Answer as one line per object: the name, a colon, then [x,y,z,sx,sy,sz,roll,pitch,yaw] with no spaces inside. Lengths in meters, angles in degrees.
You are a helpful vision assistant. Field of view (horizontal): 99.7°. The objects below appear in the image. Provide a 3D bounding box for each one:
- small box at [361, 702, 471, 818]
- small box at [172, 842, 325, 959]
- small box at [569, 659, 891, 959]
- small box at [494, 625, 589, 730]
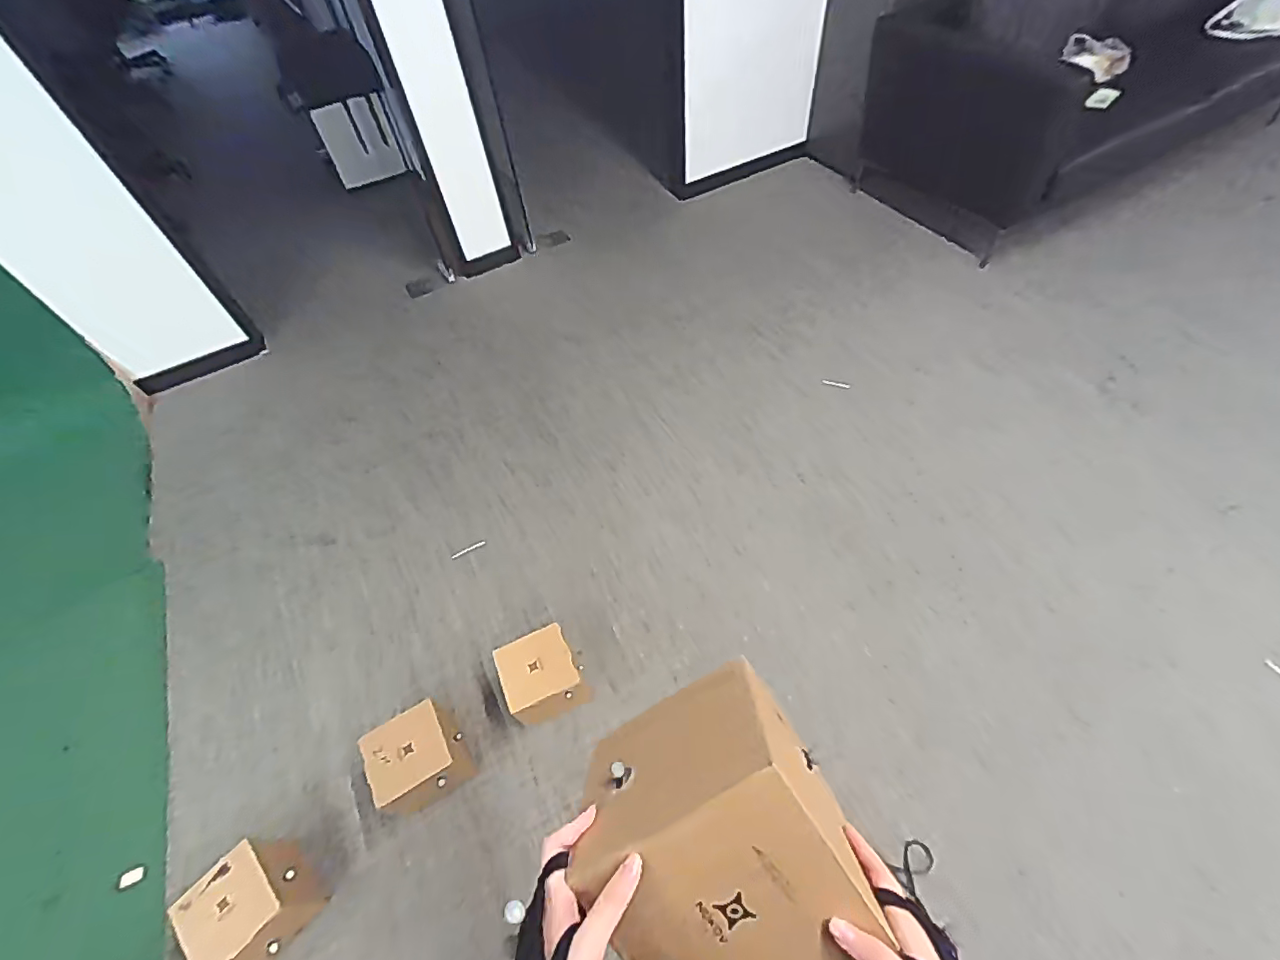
small box: [-0.515,0.658,1.268,0.179,0.176,0.168,-28,55,-15]
small box: [-0.803,0.893,1.124,0.179,0.176,0.168,35,64,27]
small box: [0.068,0.289,0.460,0.179,0.176,0.168,-32,94,7]
small box: [-0.244,0.501,1.361,0.179,0.176,0.168,-22,55,-12]
